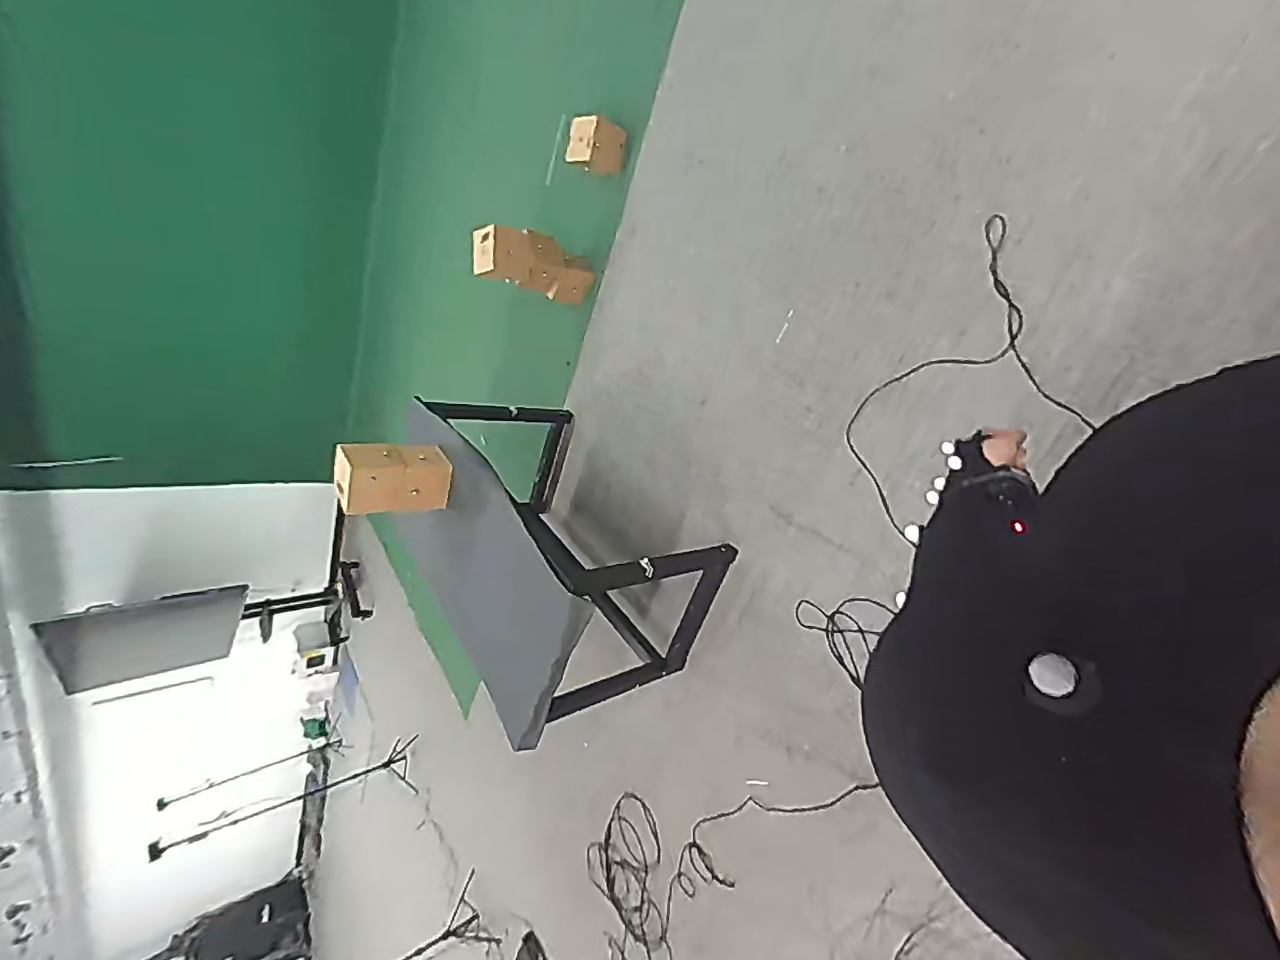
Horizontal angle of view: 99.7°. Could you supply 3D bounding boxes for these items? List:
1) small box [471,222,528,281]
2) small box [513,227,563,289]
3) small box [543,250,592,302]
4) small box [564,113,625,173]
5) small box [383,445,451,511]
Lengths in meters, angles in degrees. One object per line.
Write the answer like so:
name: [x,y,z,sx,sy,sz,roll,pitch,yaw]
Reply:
small box: [-0.574,-0.932,2.221,0.168,0.176,0.179,11,101,45]
small box: [-0.451,-0.945,2.330,0.168,0.176,0.179,-31,70,42]
small box: [-0.347,-0.928,2.456,0.168,0.176,0.179,-55,55,33]
small box: [-0.190,-1.402,2.262,0.179,0.176,0.168,30,113,43]
small box: [-0.785,-0.015,1.909,0.168,0.176,0.179,40,121,38]
